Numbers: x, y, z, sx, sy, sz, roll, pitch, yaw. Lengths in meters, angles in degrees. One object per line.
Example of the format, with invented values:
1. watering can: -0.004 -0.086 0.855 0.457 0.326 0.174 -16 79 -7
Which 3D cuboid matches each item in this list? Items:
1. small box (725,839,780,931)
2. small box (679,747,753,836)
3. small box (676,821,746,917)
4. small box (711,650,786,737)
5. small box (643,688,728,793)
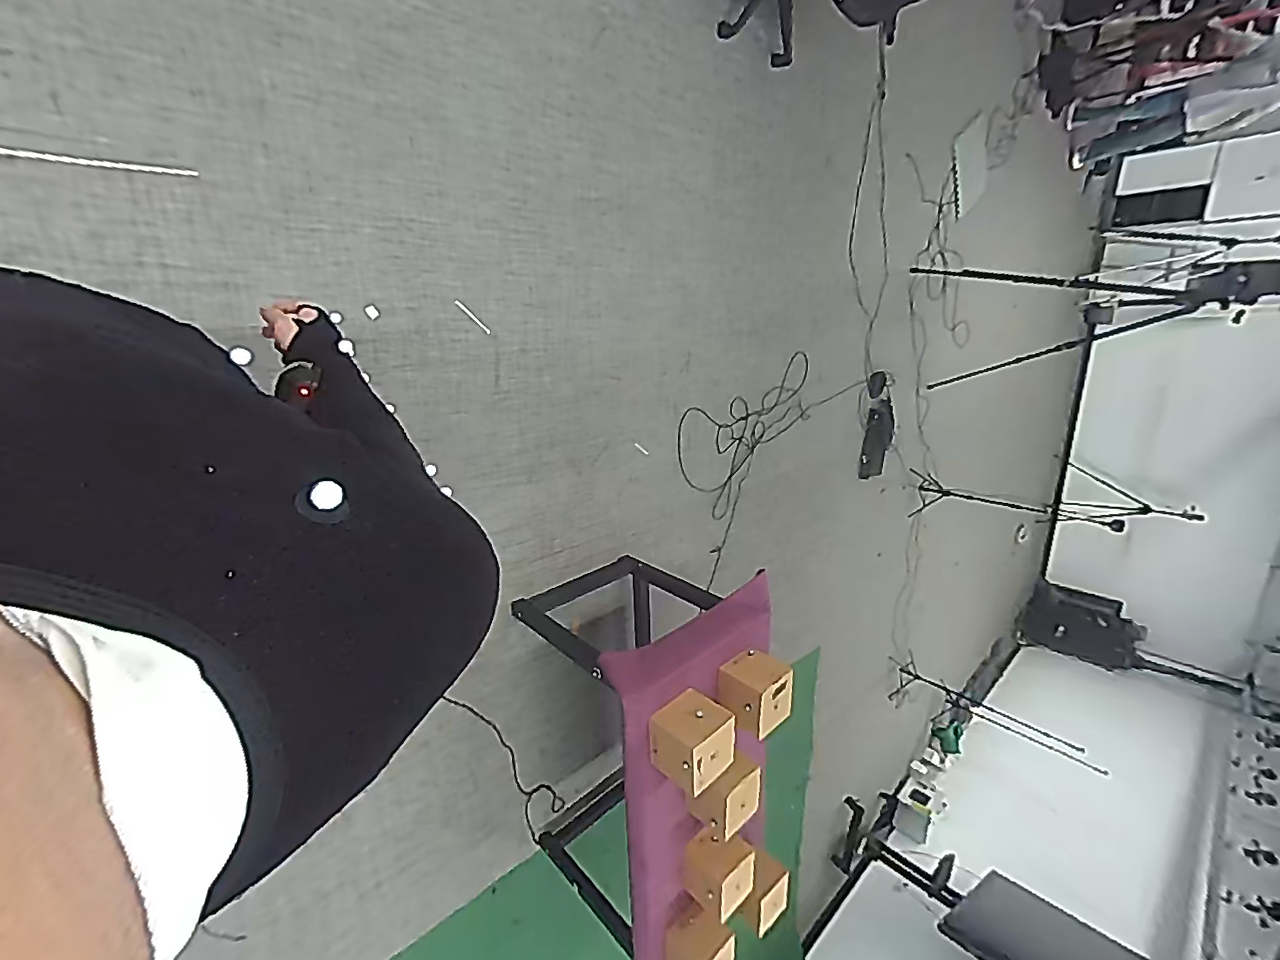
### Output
1. small box: 0.398 1.496 2.010 0.168 0.176 0.179 -13 110 -40
2. small box: 0.234 0.953 1.698 0.168 0.176 0.179 -15 112 -41
3. small box: 0.232 1.270 1.791 0.168 0.176 0.179 -15 111 -40
4. small box: 0.341 0.664 1.717 0.168 0.176 0.179 -16 113 -40
5. small box: 0.128 0.724 1.529 0.179 0.176 0.168 -19 114 -41
